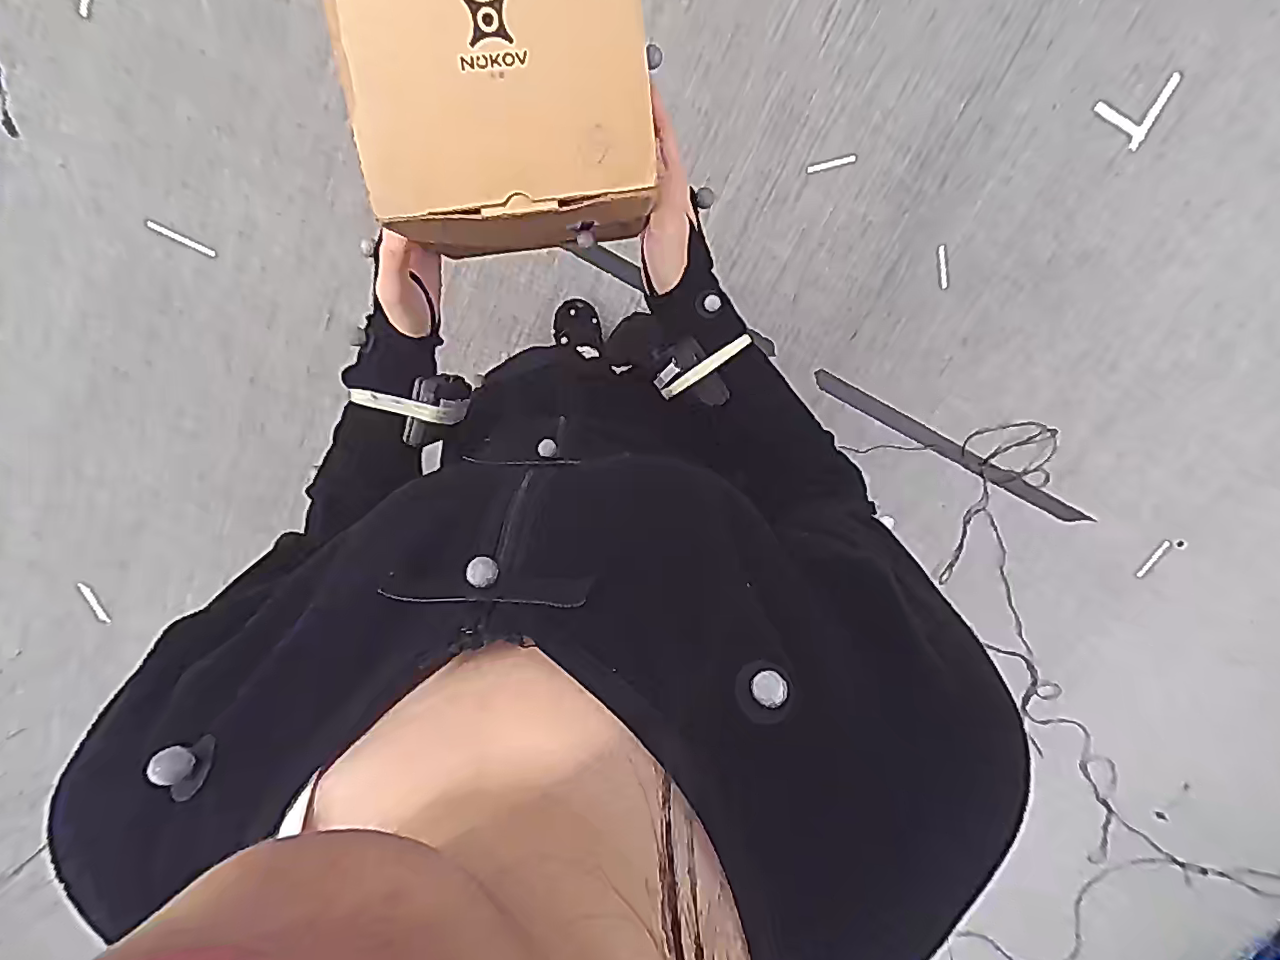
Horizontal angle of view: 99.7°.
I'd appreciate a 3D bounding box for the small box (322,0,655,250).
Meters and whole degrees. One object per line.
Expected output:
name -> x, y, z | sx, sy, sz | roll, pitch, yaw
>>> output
small box -> -0.086, -0.260, 0.362 | 0.168, 0.176, 0.179 | -8, 105, -3
